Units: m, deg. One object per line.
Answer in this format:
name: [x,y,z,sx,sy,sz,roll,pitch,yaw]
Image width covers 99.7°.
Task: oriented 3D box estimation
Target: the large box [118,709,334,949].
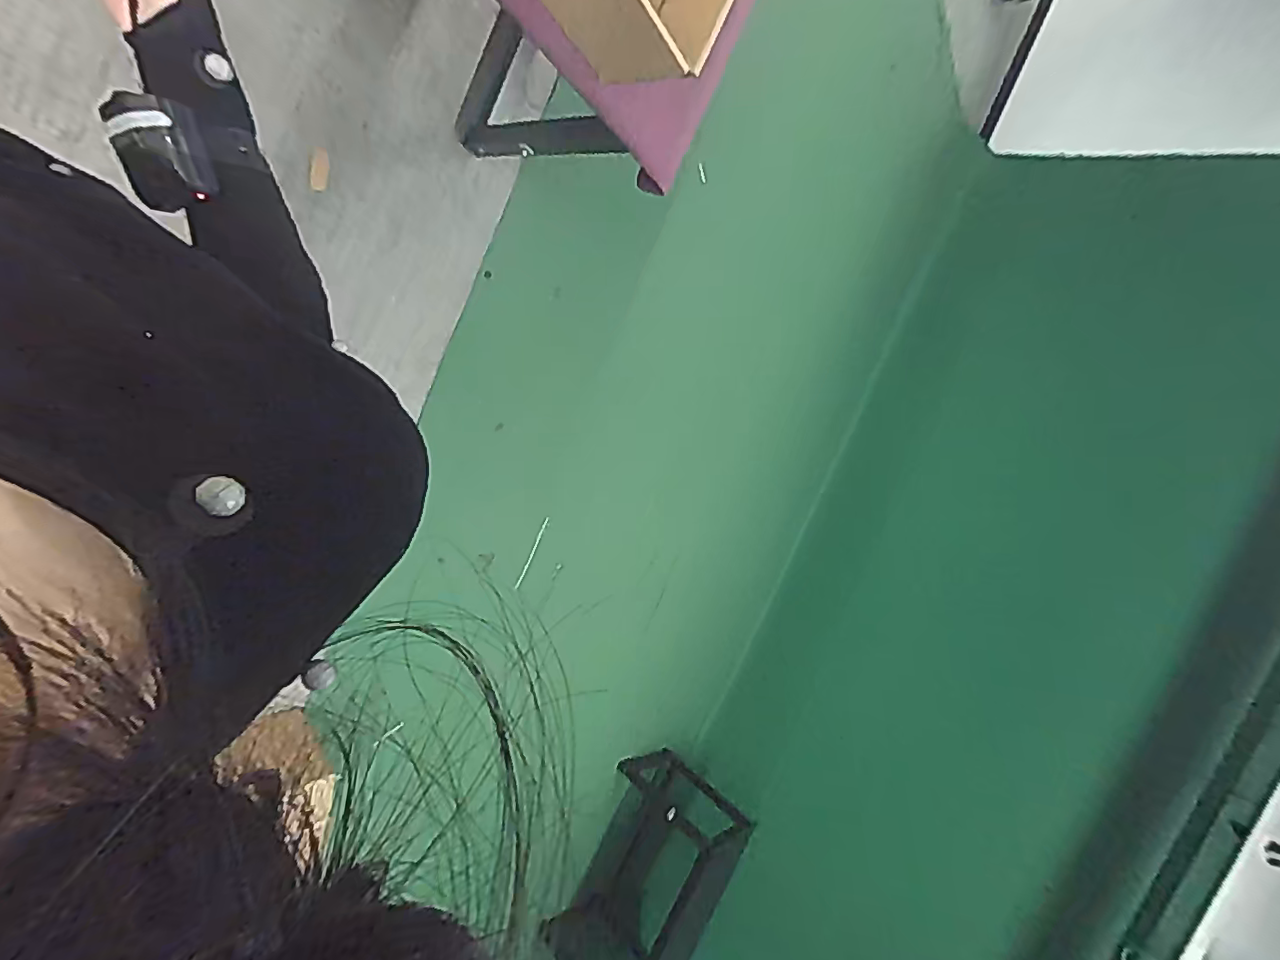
large box: [-1.116,0.899,1.464,0.408,0.320,0.320,-3,113,-50]
